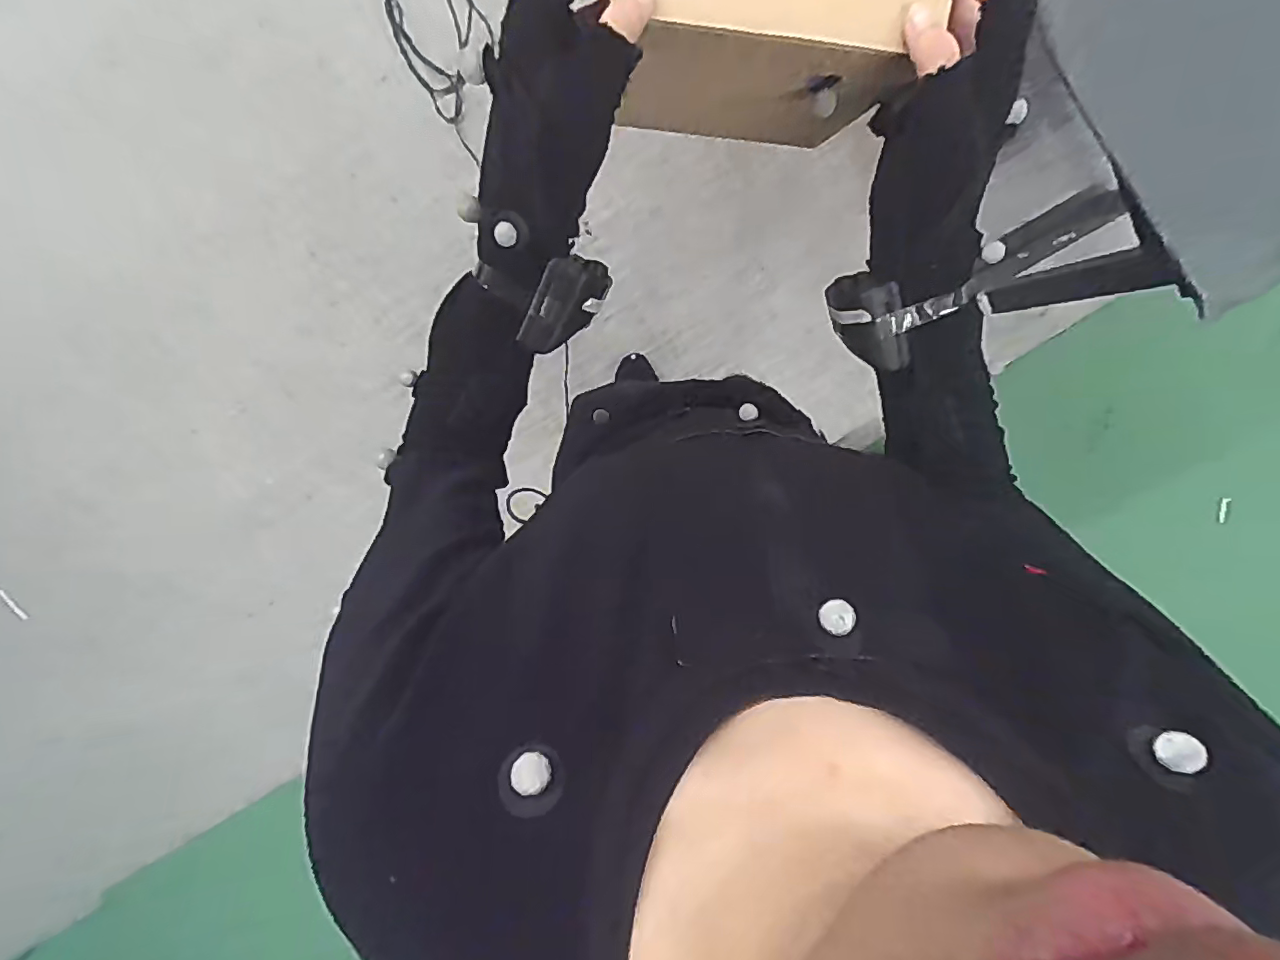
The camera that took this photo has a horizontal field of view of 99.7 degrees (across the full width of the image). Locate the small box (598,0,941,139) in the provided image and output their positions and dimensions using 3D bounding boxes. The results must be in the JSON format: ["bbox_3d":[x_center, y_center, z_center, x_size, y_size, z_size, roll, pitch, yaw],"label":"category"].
[{"bbox_3d":[0.067,-0.327,0.328,0.179,0.176,0.168,3,107,-5],"label":"small box"}]
